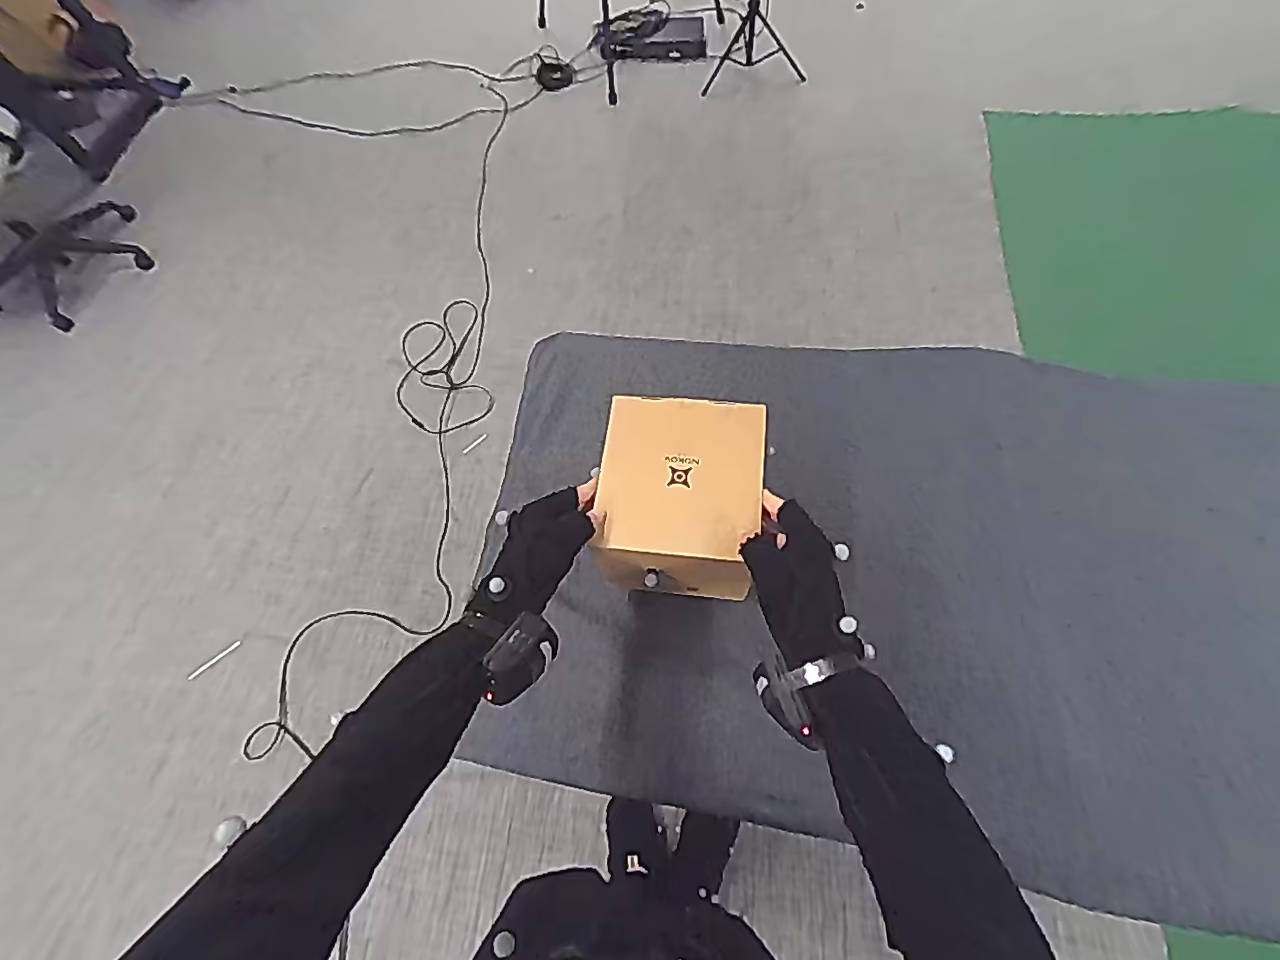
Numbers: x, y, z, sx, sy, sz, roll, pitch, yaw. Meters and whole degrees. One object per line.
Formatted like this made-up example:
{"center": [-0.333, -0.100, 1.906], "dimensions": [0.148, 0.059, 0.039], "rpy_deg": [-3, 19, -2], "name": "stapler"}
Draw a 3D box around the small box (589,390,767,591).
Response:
{"center": [0.050, 0.019, 0.614], "dimensions": [0.168, 0.176, 0.179], "rpy_deg": [4, 66, 8], "name": "small box"}
